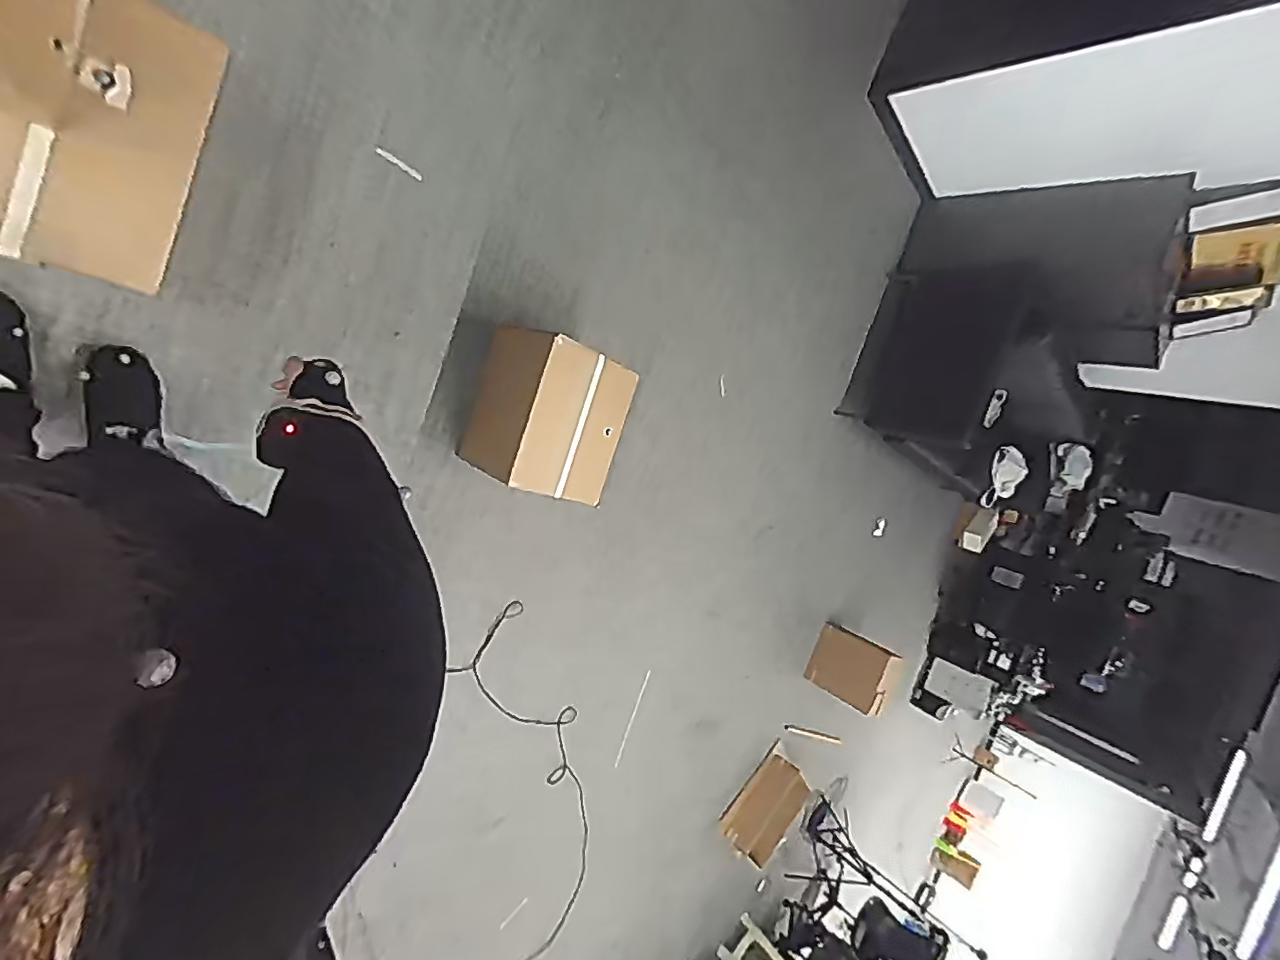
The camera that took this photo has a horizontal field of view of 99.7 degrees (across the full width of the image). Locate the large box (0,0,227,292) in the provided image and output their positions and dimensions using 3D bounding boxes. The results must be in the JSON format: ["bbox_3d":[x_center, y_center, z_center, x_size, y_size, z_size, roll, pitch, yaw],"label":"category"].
[{"bbox_3d":[-0.896,-0.547,0.845,0.320,0.320,0.408,16,93,-44],"label":"large box"}]
